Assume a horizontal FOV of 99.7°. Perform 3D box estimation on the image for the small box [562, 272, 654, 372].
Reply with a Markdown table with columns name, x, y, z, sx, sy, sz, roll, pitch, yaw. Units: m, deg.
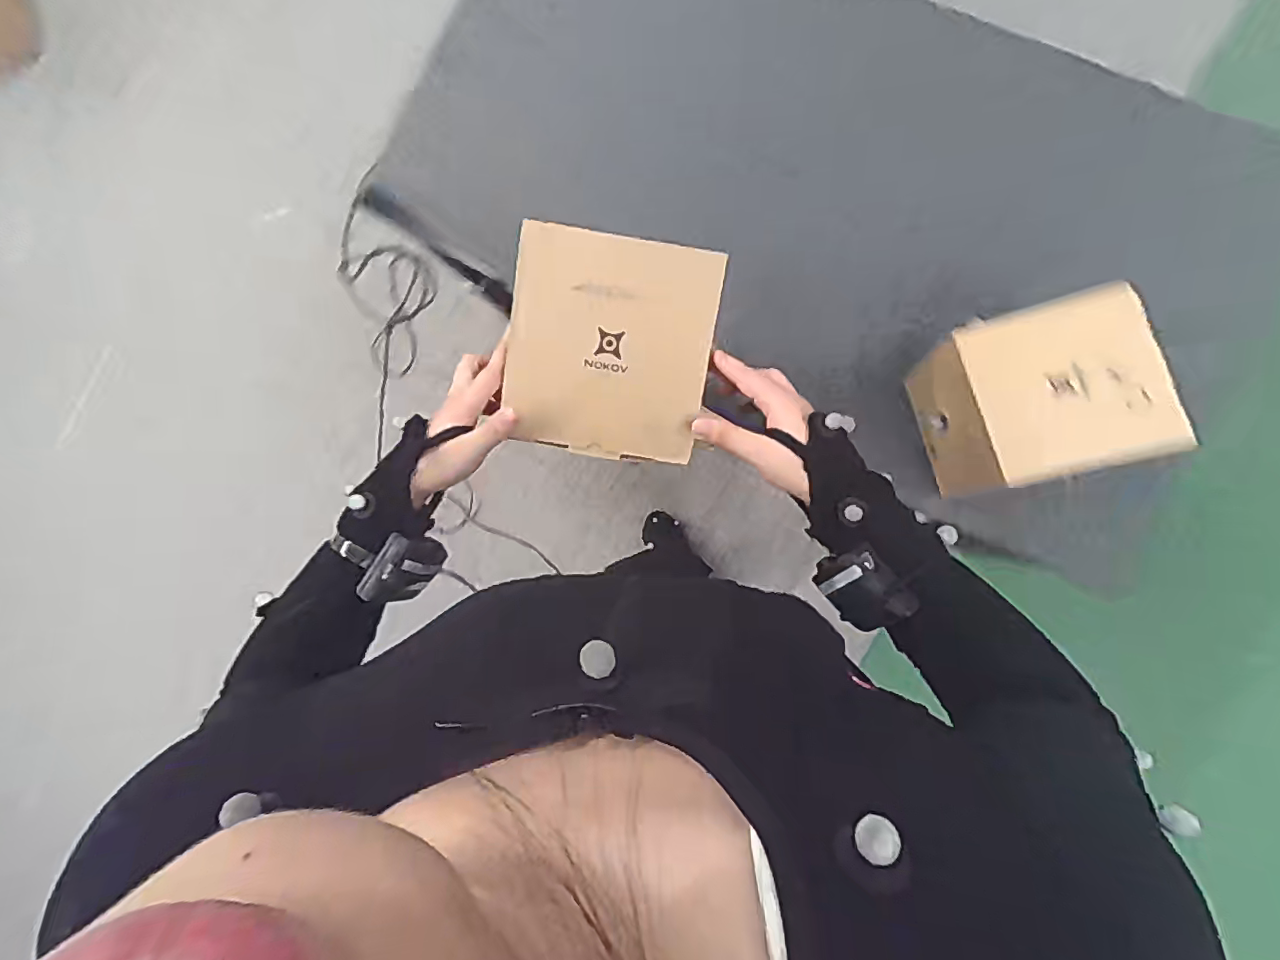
| name | x | y | z | sx | sy | sz | roll | pitch | yaw |
| --- | --- | --- | --- | --- | --- | --- | --- | --- | --- |
| small box | -0.078 | -0.412 | 1.450 | 0.179 | 0.176 | 0.168 | -28 | 83 | 6 |

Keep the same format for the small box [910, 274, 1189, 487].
| name | x | y | z | sx | sy | sz | roll | pitch | yaw |
| --- | --- | --- | --- | --- | --- | --- | --- | --- | --- |
| small box | 0.428 | -0.095 | 0.608 | 0.179 | 0.176 | 0.168 | -15 | 82 | 8 |

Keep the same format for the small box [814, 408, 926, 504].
| name | x | y | z | sx | sy | sz | roll | pitch | yaw |
| --- | --- | --- | --- | --- | --- | --- | --- | --- | --- |
| small box | 0.552 | -0.050 | 1.328 | 0.179 | 0.176 | 0.168 | 35 | 93 | 8 |
